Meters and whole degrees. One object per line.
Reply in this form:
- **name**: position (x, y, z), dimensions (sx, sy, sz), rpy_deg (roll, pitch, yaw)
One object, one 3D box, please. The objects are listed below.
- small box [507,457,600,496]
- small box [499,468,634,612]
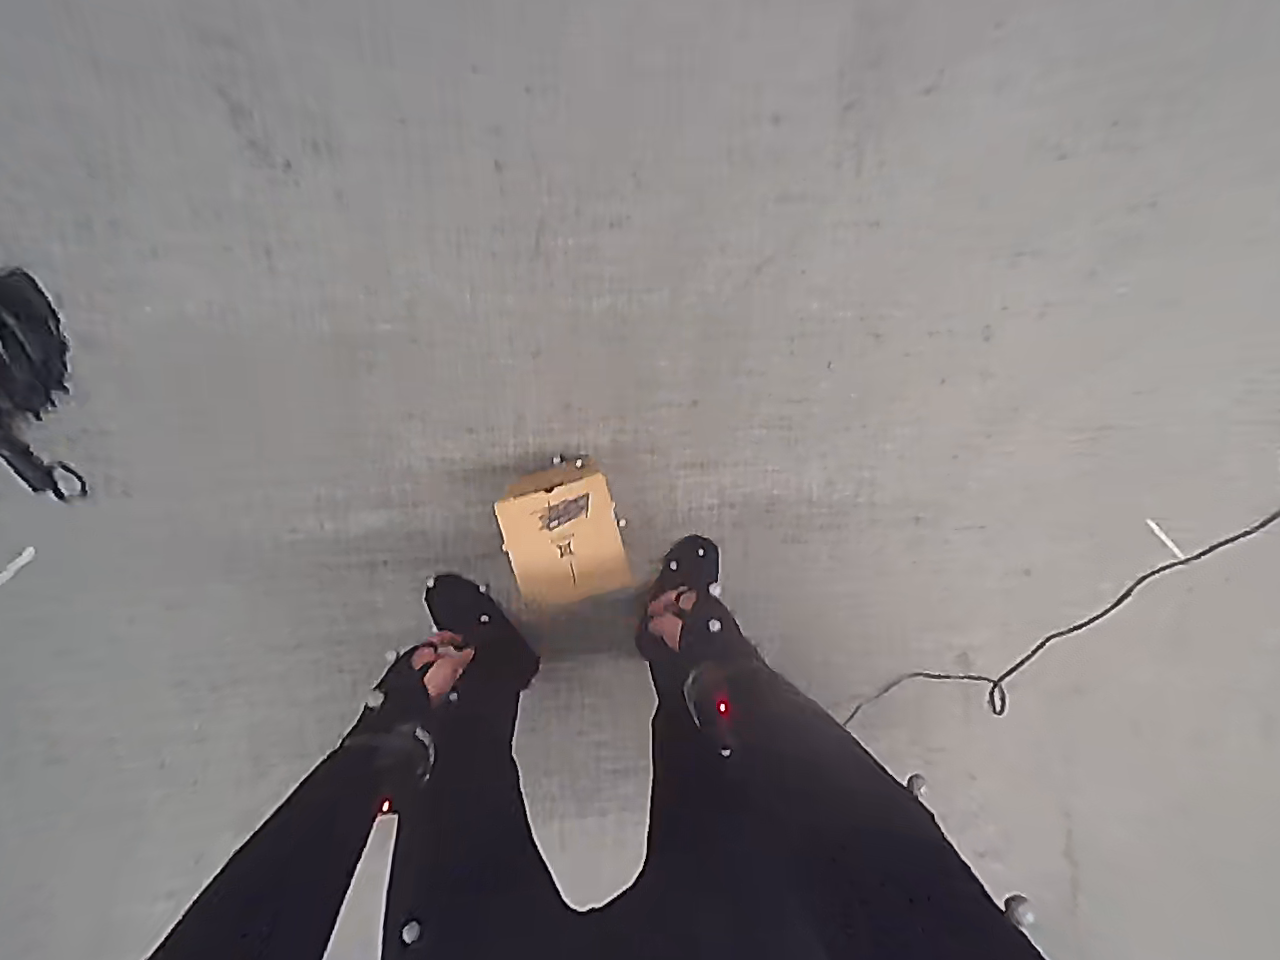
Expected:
- **small box**: position (-0.140, 0.063, 1.039), dimensions (0.168, 0.176, 0.179), rpy_deg (-17, 97, -4)
- **small box**: position (-0.116, 0.084, 0.878), dimensions (0.168, 0.176, 0.179), rpy_deg (-16, 99, -3)
